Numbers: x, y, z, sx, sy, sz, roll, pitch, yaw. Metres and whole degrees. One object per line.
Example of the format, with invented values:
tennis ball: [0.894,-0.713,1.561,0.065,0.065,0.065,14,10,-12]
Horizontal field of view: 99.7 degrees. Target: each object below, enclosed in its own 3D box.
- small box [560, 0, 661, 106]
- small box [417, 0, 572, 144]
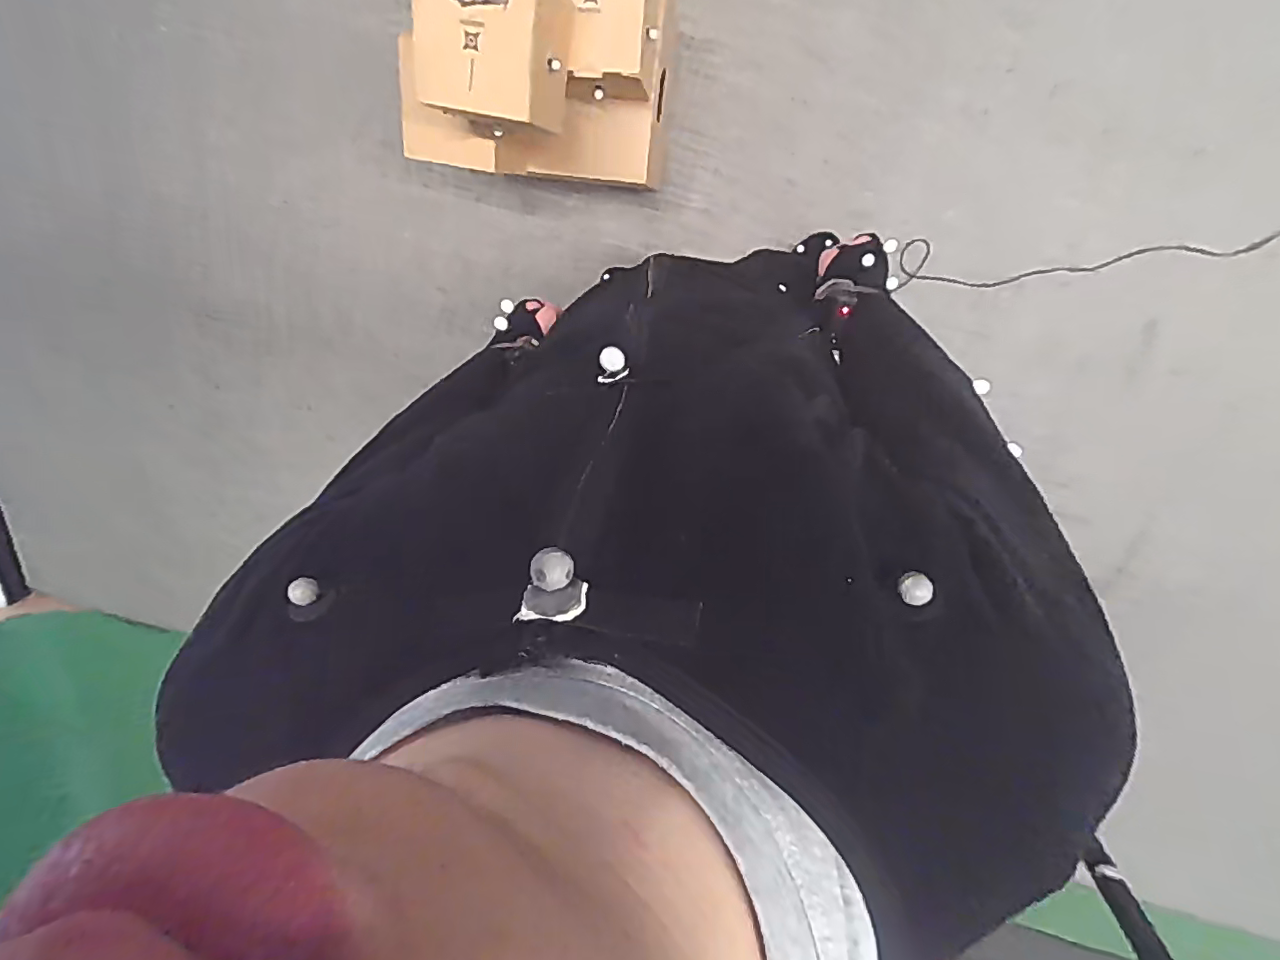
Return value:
small box: [-0.061,-0.731,0.883,0.168,0.176,0.179,8,115,5]
small box: [-0.203,-0.607,0.780,0.168,0.176,0.179,13,118,4]
